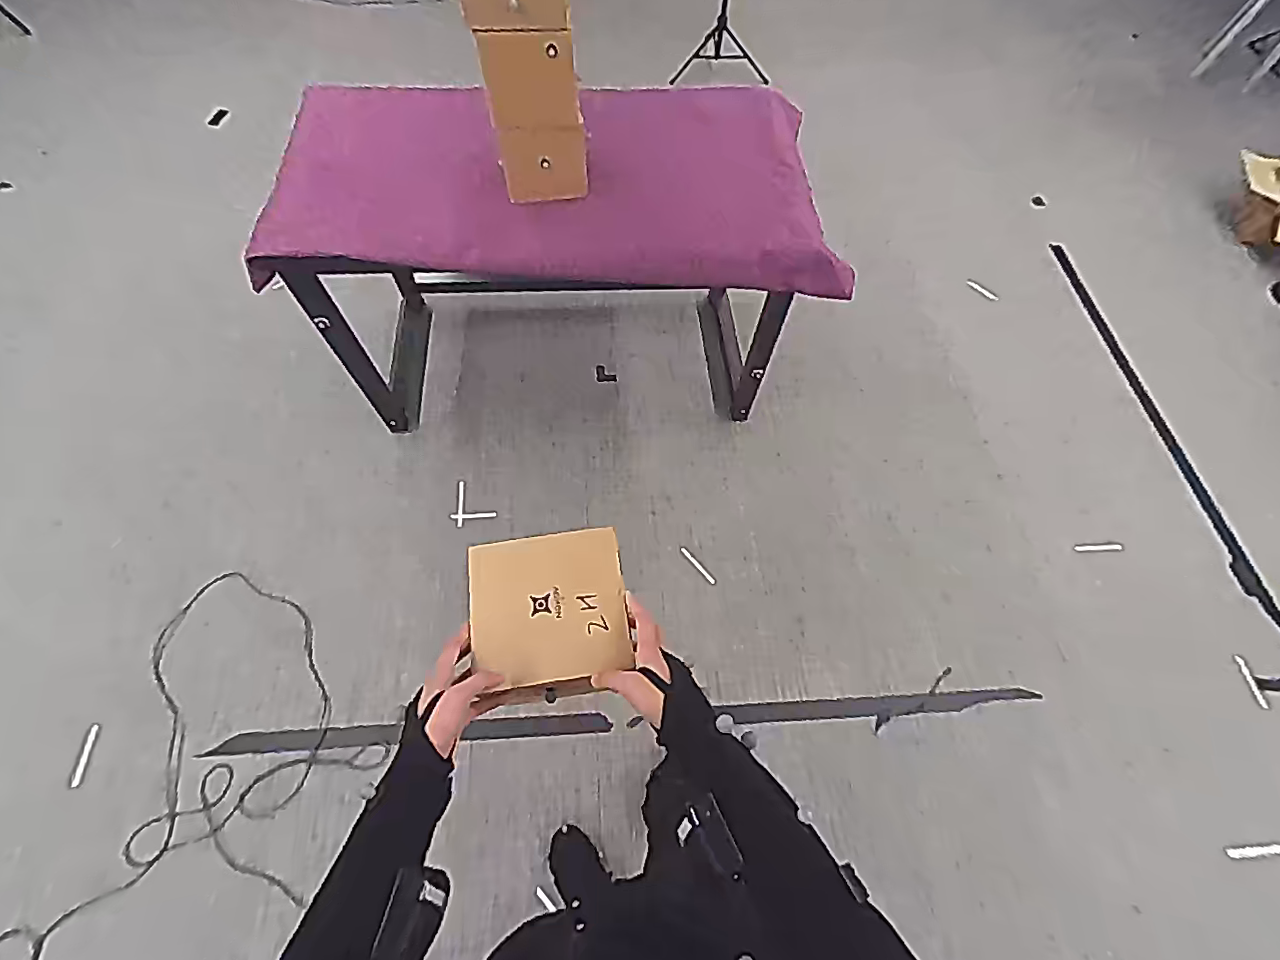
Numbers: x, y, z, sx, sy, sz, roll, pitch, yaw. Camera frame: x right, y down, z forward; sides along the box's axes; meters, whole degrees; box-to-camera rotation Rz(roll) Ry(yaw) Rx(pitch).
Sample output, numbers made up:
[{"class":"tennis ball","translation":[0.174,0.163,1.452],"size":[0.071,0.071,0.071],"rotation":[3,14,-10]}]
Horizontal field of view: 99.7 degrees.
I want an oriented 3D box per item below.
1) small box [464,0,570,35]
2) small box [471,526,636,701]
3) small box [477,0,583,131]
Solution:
[{"class":"small box","translation":[-0.207,-0.873,0.894],"size":[0.179,0.176,0.168],"rotation":[-4,63,-6]},{"class":"small box","translation":[-0.101,0.173,0.675],"size":[0.179,0.176,0.168],"rotation":[-7,64,-5]},{"class":"small box","translation":[-0.205,-0.802,1.042],"size":[0.179,0.176,0.168],"rotation":[-5,64,-5]}]
